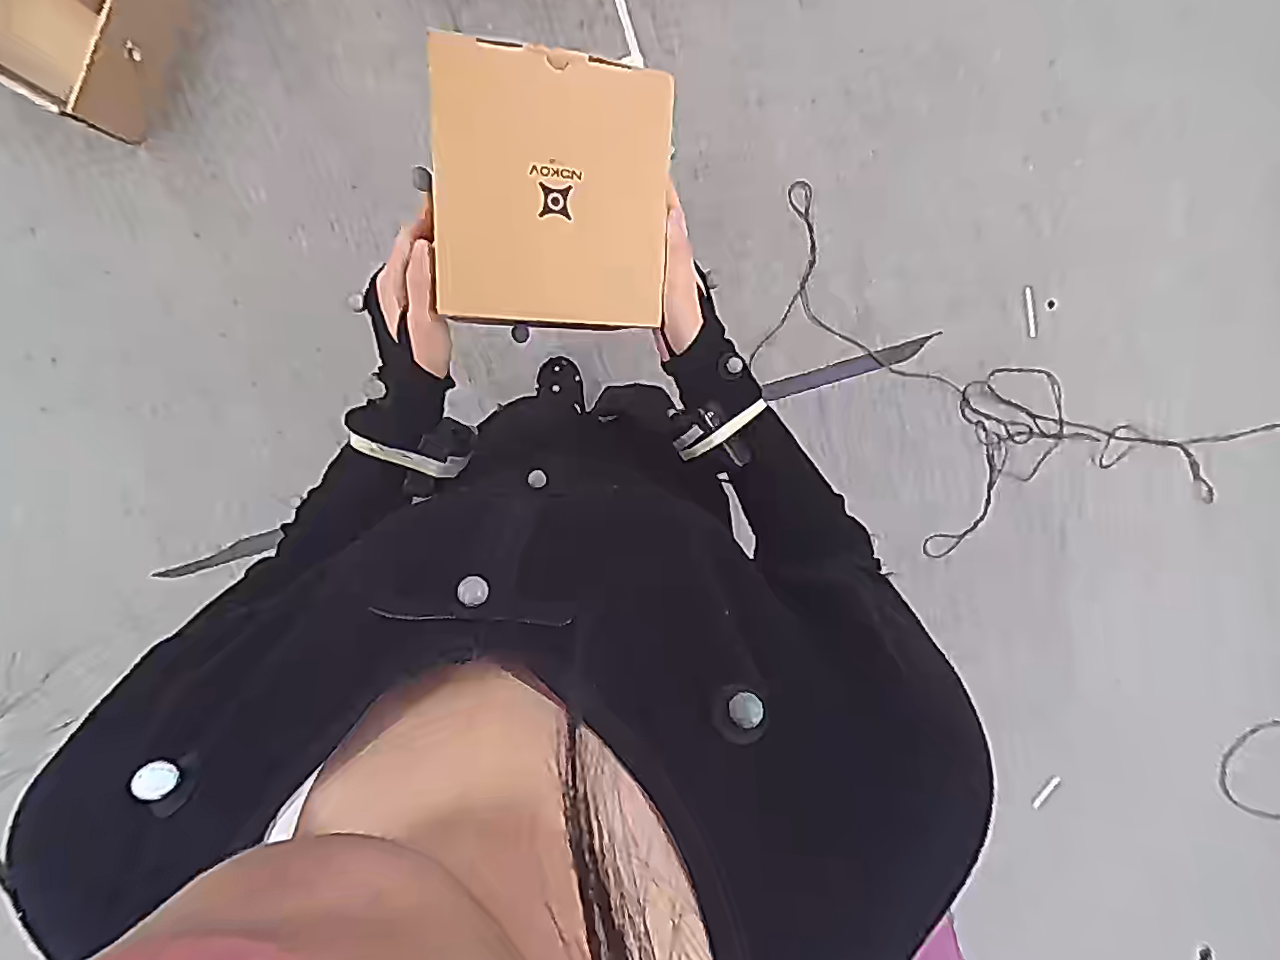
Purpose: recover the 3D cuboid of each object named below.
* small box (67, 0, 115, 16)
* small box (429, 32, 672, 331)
[{"bbox_3d":[-1.168,-1.069,1.050,0.179,0.176,0.168,28,98,-11],"label":"small box"},{"bbox_3d":[-0.080,-0.221,0.459,0.168,0.176,0.179,-1,103,-15],"label":"small box"}]
